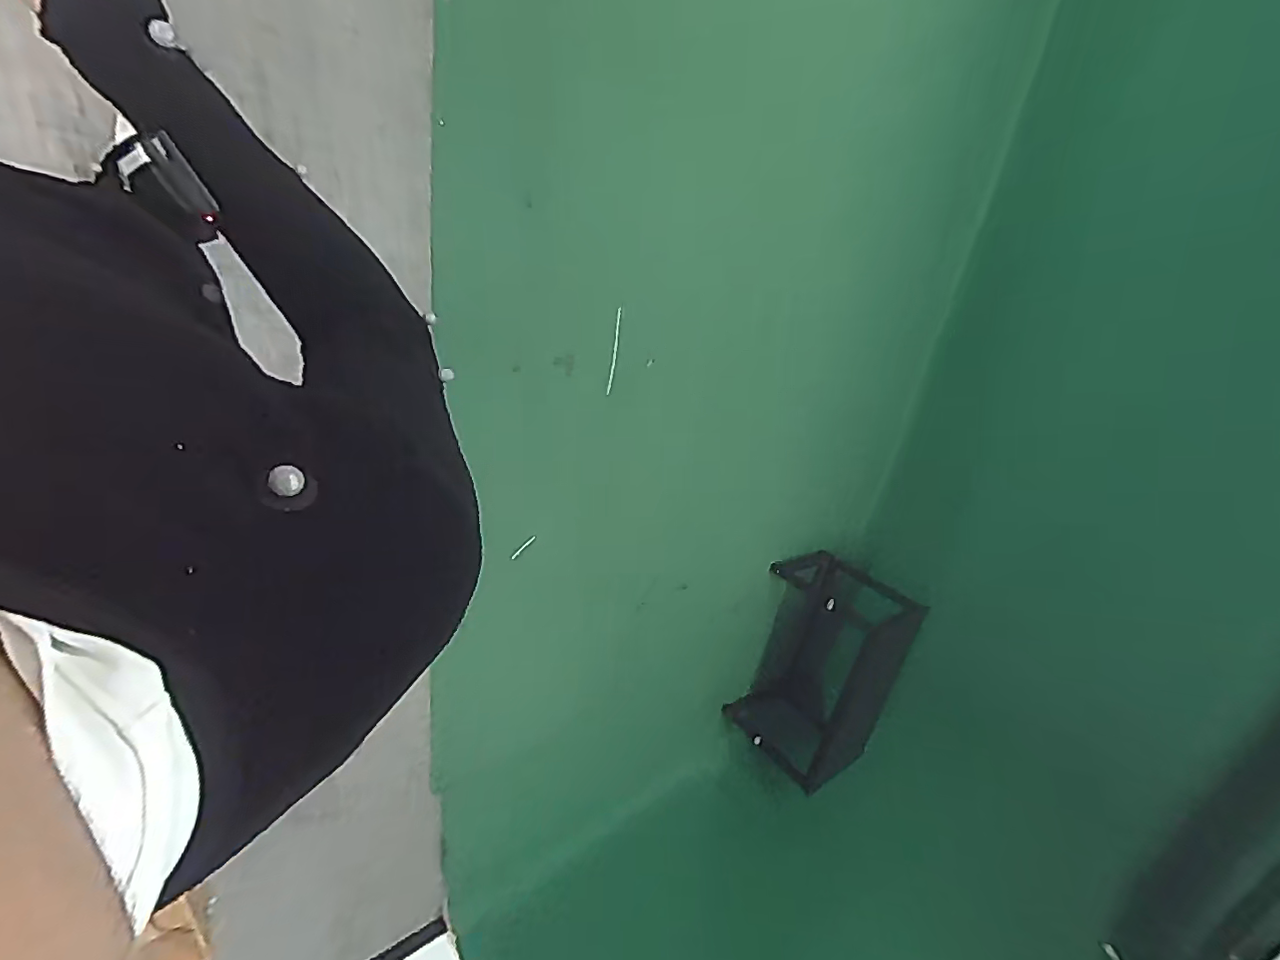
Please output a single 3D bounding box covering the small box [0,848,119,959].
[{"bbox_3d":[-1.204,0.908,1.104,0.179,0.176,0.168,-12,123,-36],"label":"small box"}]
